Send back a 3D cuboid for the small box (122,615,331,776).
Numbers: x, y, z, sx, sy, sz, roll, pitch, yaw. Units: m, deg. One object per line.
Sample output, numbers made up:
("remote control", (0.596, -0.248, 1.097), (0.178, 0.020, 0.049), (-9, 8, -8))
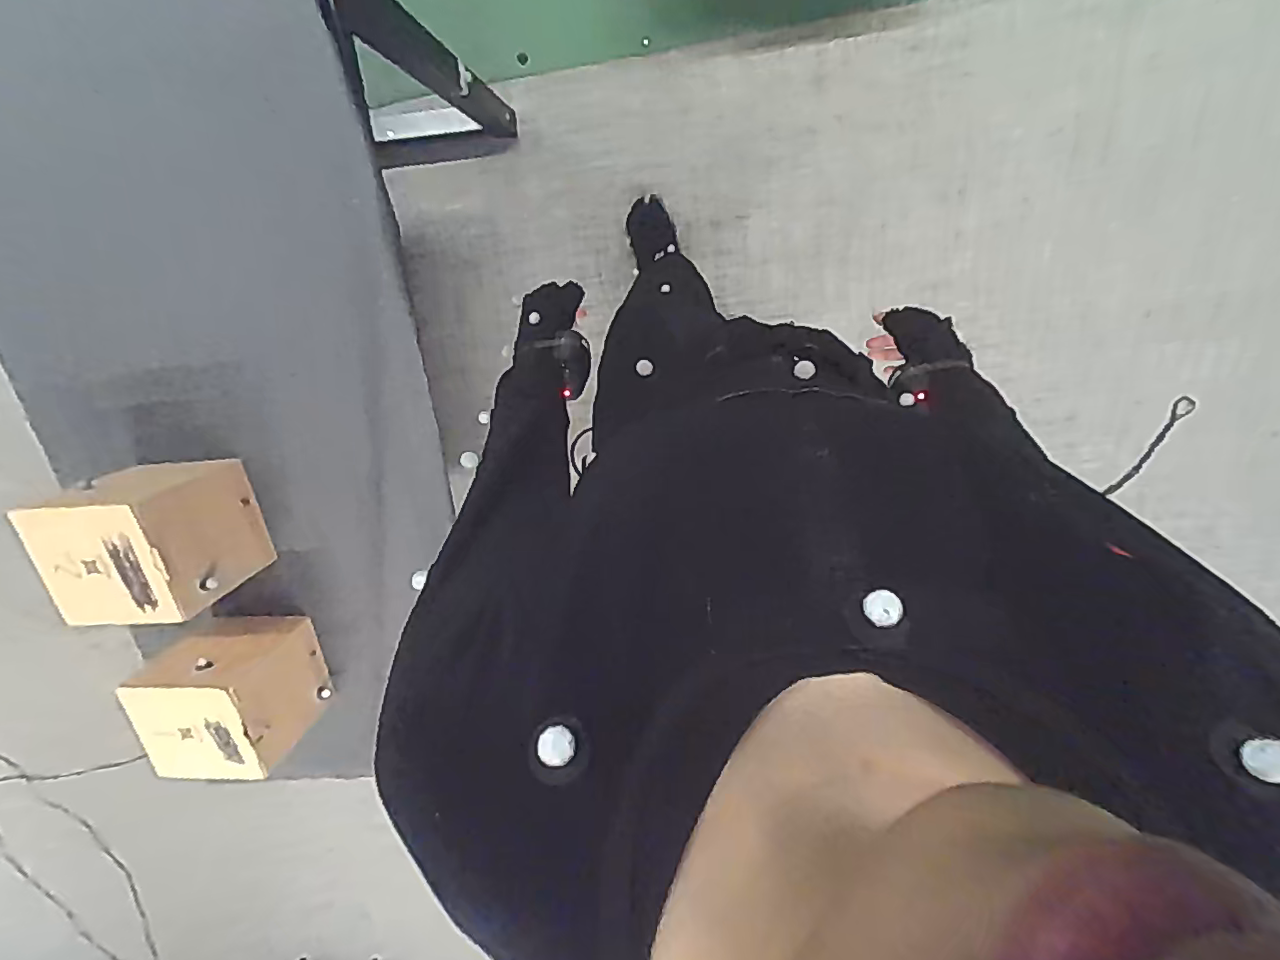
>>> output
("small box", (-0.612, 0.323, 0.833), (0.179, 0.176, 0.168), (-2, 109, 7))
